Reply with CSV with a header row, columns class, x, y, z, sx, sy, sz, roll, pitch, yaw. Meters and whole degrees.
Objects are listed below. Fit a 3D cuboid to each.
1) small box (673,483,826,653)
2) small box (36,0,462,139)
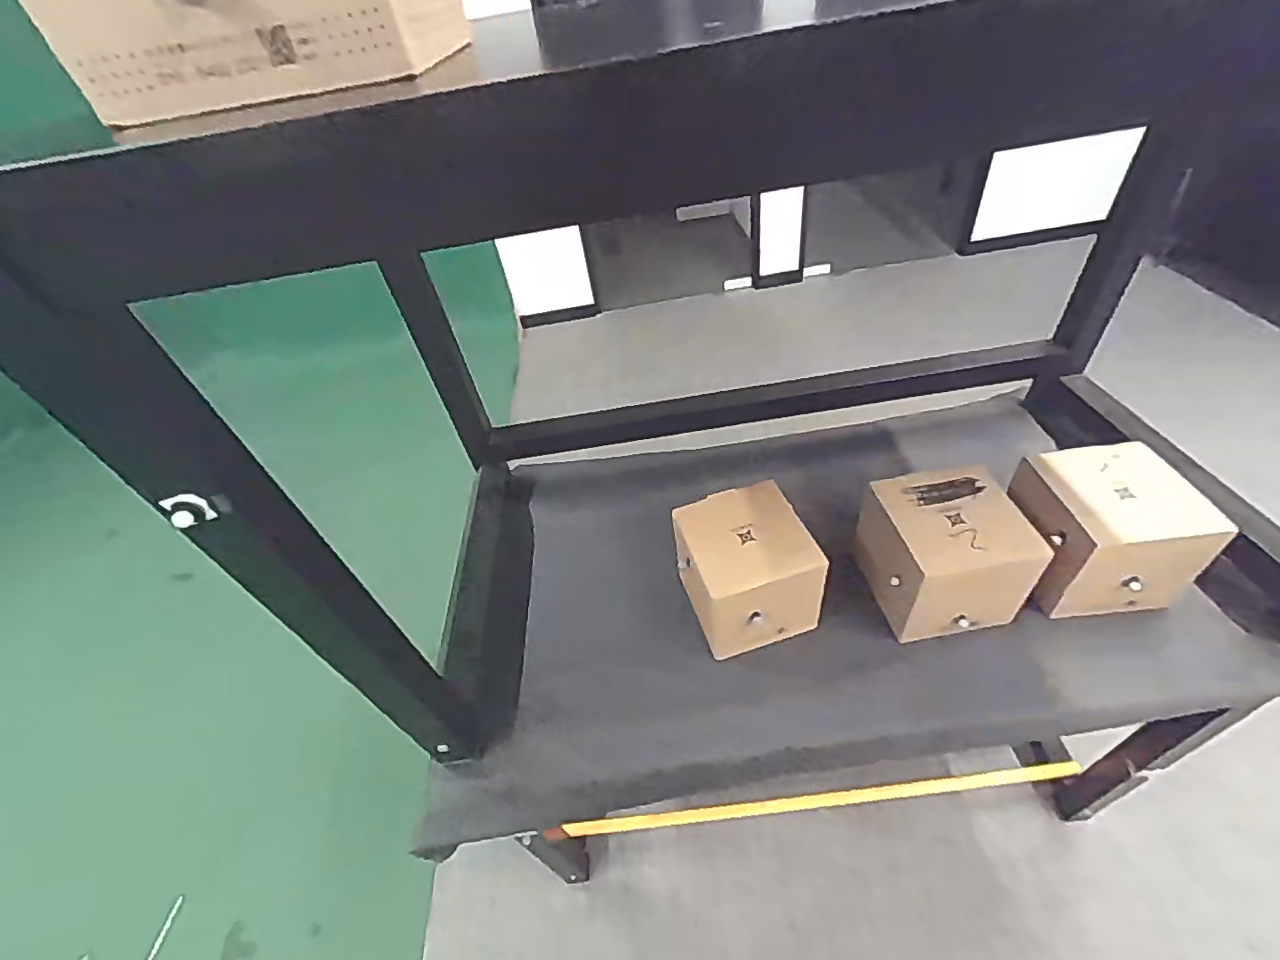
class,x,y,z,sx,sy,sz,roll,pitch,yaw
small box,0.160,0.139,0.819,0.168,0.176,0.179,-16,43,-6
small box,-0.210,-0.301,0.288,0.168,0.176,0.179,-8,44,3
